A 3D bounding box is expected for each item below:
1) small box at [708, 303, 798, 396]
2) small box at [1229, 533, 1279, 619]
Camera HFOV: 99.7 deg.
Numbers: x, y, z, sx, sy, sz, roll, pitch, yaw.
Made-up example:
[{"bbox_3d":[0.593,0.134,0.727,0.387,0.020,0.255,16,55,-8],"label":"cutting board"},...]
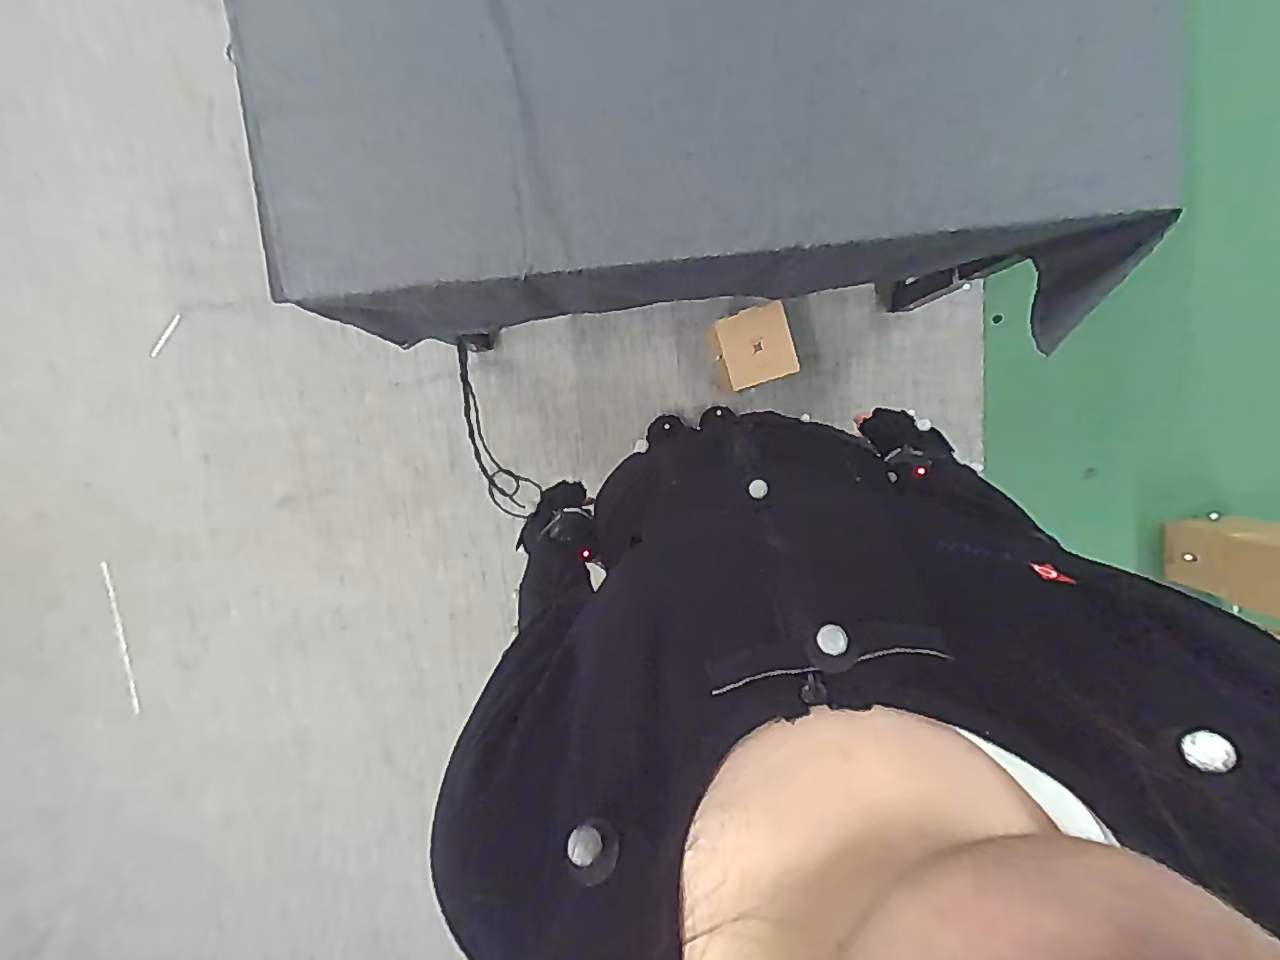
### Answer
[{"bbox_3d":[0.276,-0.319,1.356,0.168,0.176,0.179,-17,95,4],"label":"small box"},{"bbox_3d":[1.477,0.217,1.202,0.168,0.176,0.179,-7,96,3],"label":"small box"}]
